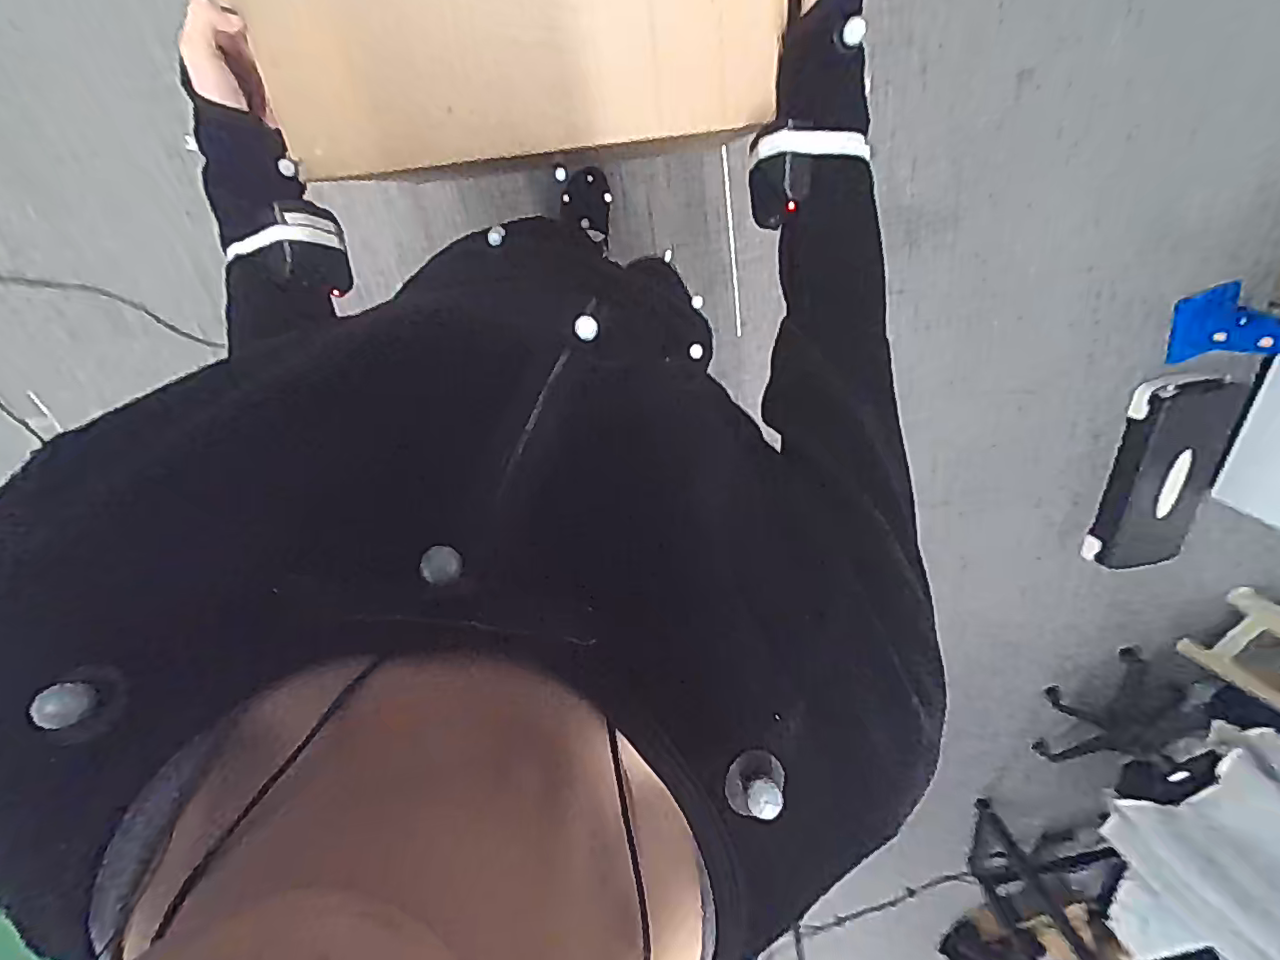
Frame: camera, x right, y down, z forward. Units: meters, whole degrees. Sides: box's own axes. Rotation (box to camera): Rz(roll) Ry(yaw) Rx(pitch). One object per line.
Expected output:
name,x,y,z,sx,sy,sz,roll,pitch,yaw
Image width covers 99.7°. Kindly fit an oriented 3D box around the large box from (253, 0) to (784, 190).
large box,-0.101,-0.480,0.518,0.408,0.320,0.320,-8,117,1
